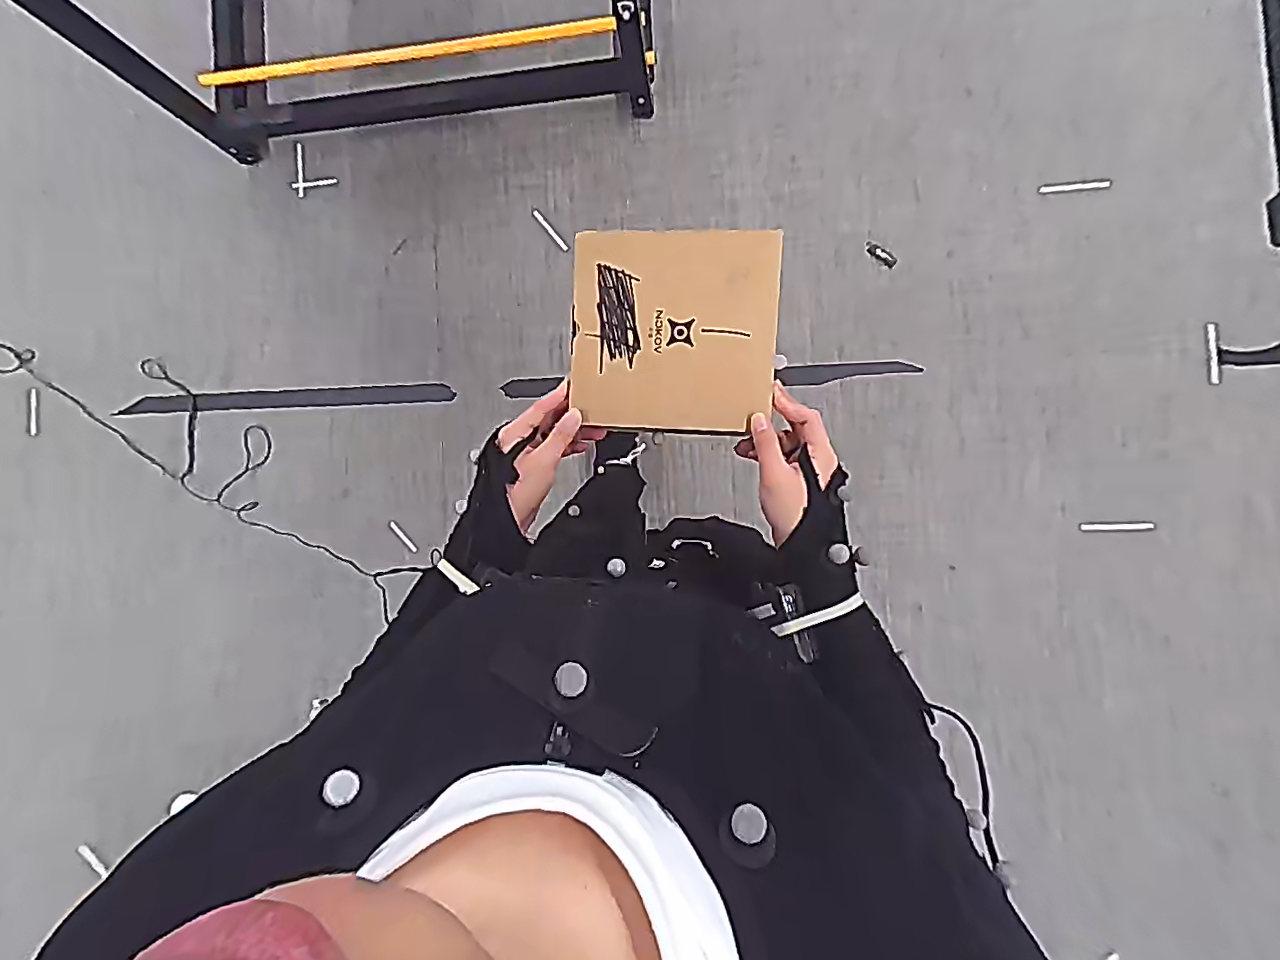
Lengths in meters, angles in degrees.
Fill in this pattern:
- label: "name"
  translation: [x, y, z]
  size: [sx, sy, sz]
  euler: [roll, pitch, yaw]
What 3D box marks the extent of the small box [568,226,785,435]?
- label: "small box"
  translation: [0.041, -0.132, 0.530]
  size: [0.179, 0.176, 0.168]
  euler: [4, 94, 9]
